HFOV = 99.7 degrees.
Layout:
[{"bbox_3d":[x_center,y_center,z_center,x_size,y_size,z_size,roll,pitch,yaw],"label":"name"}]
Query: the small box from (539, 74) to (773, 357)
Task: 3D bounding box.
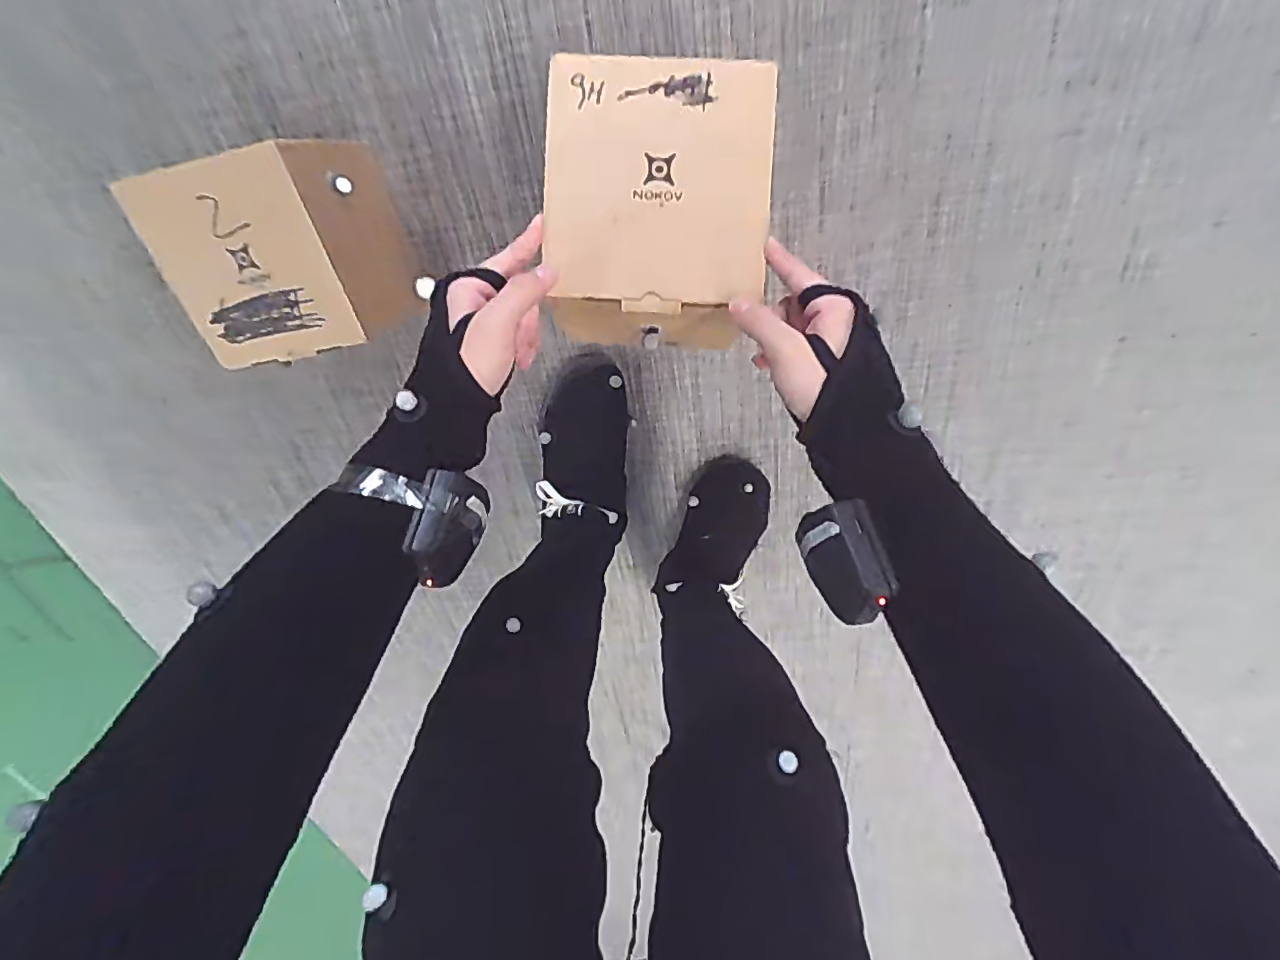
[{"bbox_3d":[0.012,-0.208,0.473,0.168,0.176,0.179,3,94,1],"label":"small box"}]
